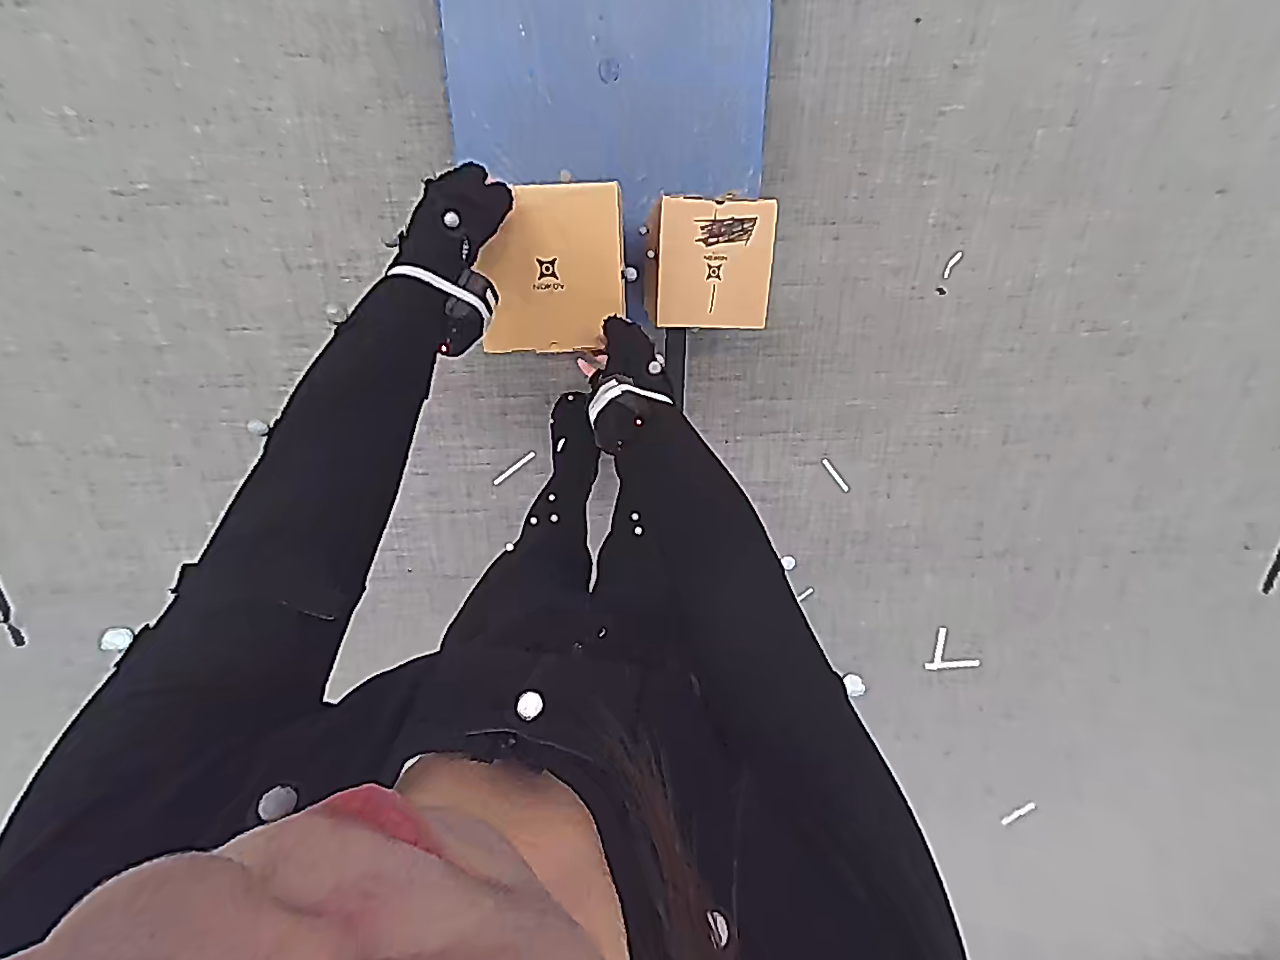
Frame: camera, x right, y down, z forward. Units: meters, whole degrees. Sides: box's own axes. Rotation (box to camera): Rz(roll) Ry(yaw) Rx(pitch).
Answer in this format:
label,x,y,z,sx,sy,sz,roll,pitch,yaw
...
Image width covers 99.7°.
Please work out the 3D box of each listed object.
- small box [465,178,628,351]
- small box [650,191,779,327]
label,x,y,z,sx,sy,sz,roll,pitch,yaw
small box,-0.102,-0.269,0.668,0.168,0.176,0.179,-3,119,0
small box,0.105,-0.342,0.852,0.168,0.176,0.179,1,111,-4
